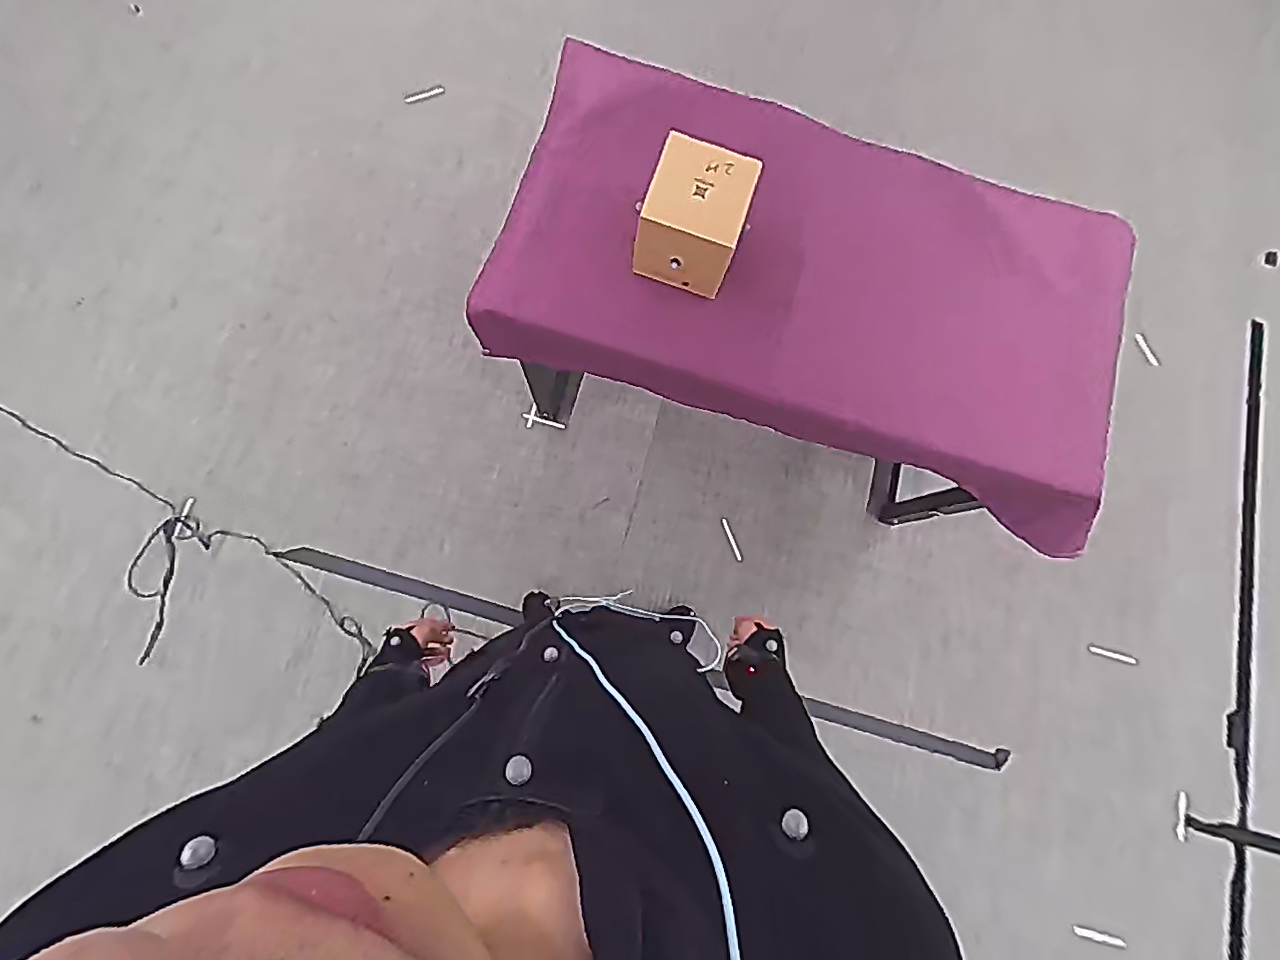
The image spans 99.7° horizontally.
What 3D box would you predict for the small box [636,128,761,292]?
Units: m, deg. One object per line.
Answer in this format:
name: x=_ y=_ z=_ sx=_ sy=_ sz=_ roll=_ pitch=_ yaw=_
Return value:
small box: x=0.095 y=-0.470 z=0.969 sx=0.168 sy=0.176 sz=0.179 roll=19 pitch=79 yaw=-2
